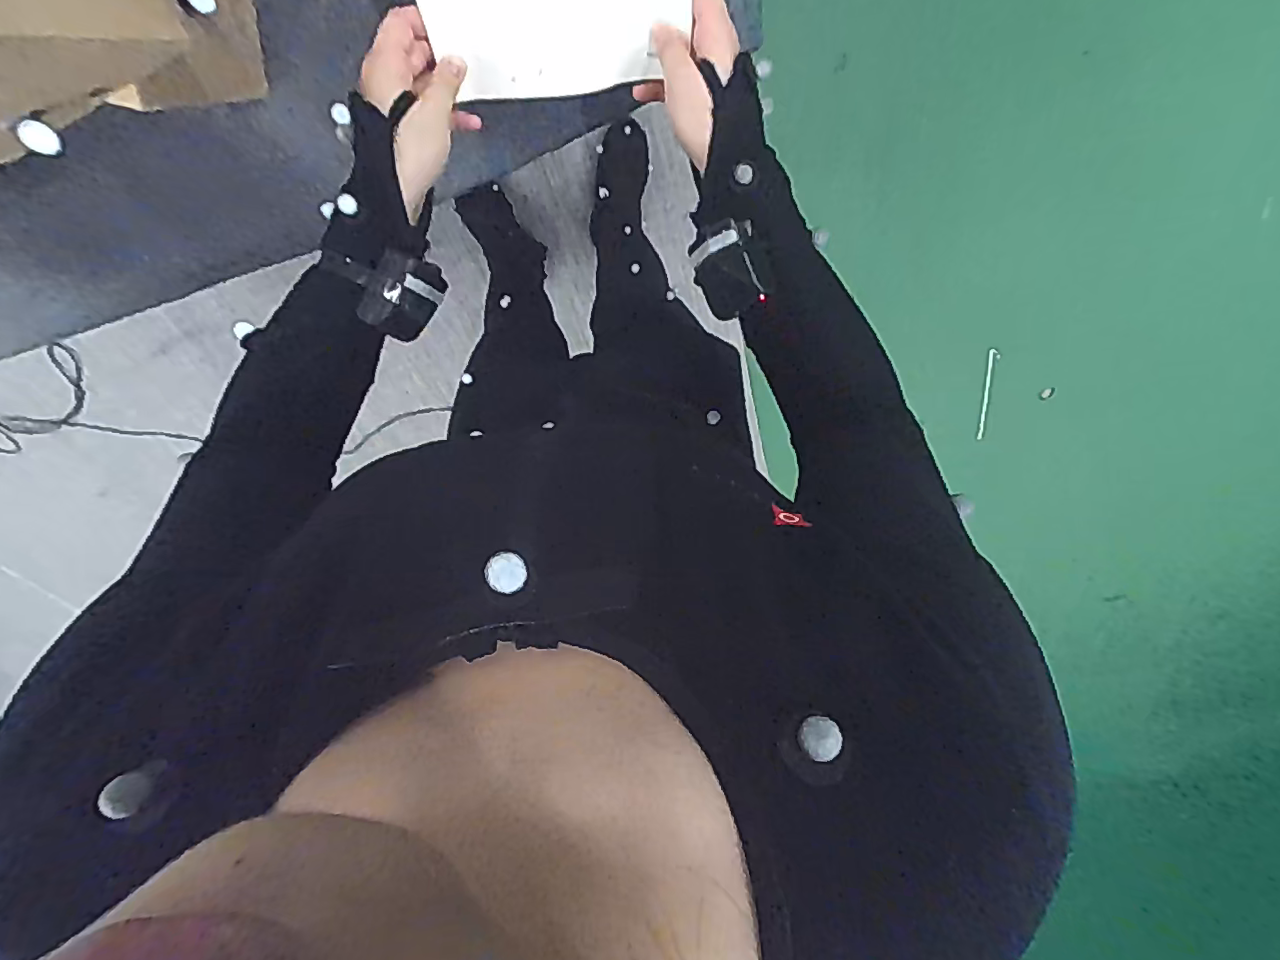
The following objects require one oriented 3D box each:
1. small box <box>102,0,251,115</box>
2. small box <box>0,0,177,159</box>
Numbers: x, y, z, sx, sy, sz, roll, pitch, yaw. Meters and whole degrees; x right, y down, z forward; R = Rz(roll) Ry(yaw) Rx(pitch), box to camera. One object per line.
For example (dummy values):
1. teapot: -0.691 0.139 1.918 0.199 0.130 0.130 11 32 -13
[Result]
1. small box: -0.382 -0.355 0.339 0.179 0.176 0.168 8 128 -10
2. small box: -0.367 -0.240 0.221 0.168 0.176 0.179 -18 128 12
